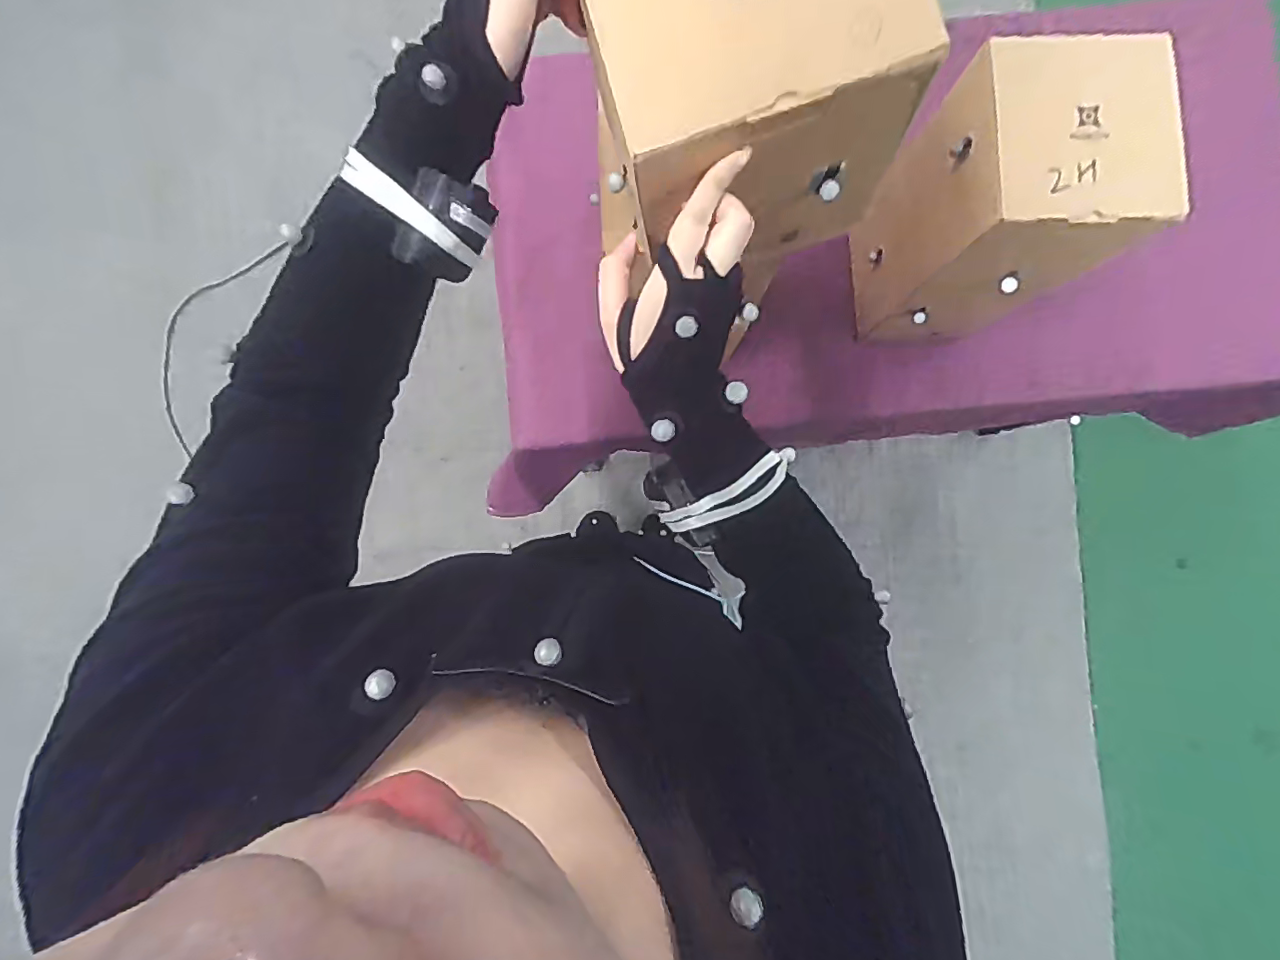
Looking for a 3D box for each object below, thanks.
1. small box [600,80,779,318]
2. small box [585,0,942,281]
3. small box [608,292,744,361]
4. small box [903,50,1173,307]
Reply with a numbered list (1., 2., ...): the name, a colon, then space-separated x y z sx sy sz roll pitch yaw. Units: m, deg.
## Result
1. small box: 0.046 -0.278 0.564 0.168 0.176 0.179 -1 86 -1
2. small box: 0.064 -0.256 0.365 0.168 0.176 0.179 -14 84 3
3. small box: 0.042 -0.261 0.728 0.168 0.176 0.179 -2 88 -1
4. small box: 0.396 -0.300 0.569 0.168 0.176 0.179 0 87 0
